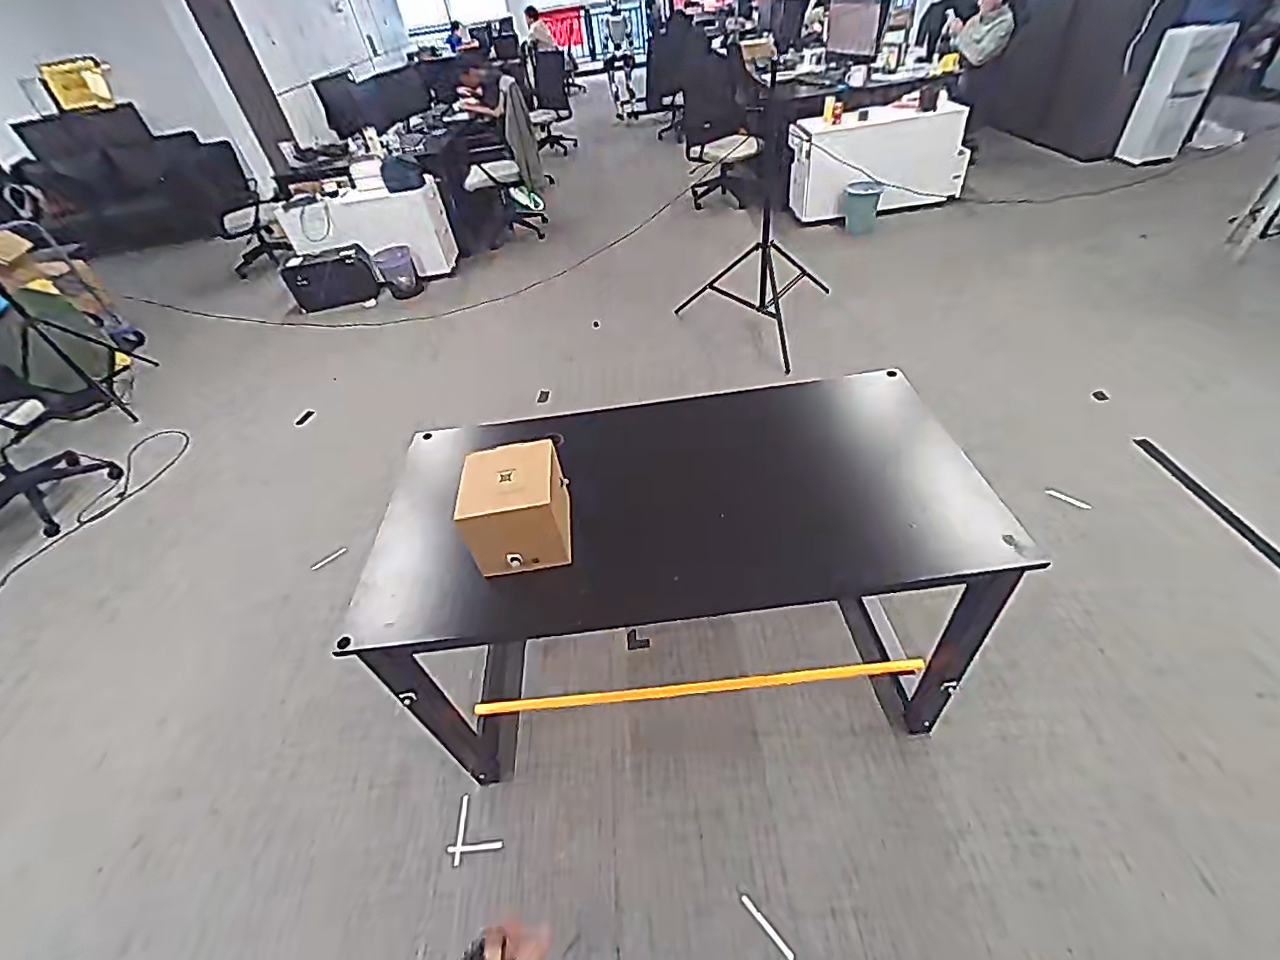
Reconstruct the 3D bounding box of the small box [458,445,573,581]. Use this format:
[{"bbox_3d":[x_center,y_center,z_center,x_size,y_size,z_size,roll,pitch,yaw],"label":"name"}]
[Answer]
[{"bbox_3d":[-0.224,0.063,1.019,0.168,0.176,0.179,-11,43,0],"label":"small box"}]
